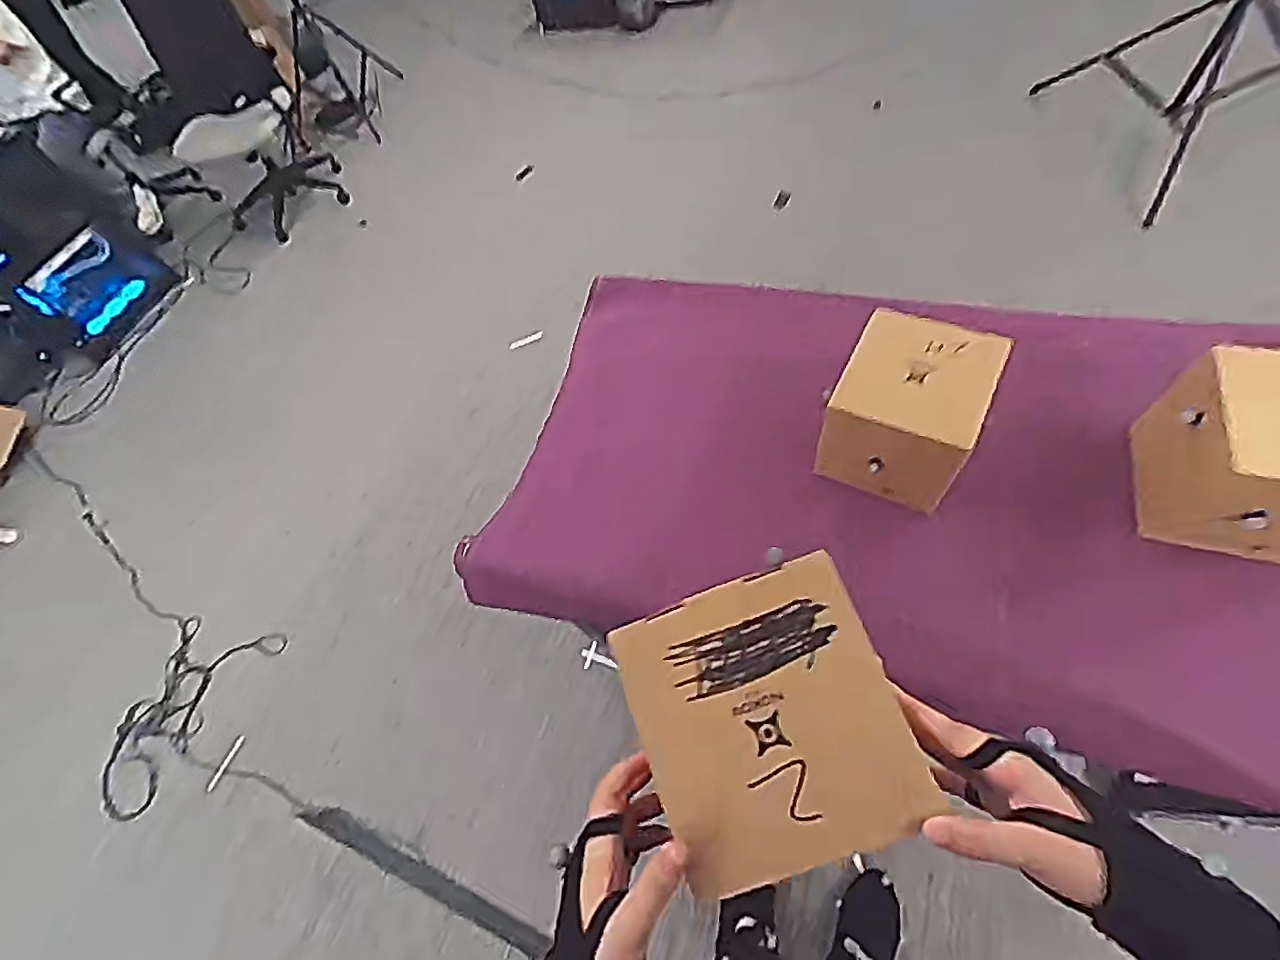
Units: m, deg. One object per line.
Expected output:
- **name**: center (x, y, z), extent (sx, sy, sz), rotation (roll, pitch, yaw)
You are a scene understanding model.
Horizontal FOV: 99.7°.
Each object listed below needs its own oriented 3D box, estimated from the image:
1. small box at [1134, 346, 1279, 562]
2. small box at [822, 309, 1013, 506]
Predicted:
- **small box**: center (0.713, -0.023, 0.618), extent (0.168, 0.176, 0.179), rotation (12, 63, 19)
- **small box**: center (0.358, -0.092, 0.729), extent (0.168, 0.176, 0.179), rotation (24, 68, 22)
